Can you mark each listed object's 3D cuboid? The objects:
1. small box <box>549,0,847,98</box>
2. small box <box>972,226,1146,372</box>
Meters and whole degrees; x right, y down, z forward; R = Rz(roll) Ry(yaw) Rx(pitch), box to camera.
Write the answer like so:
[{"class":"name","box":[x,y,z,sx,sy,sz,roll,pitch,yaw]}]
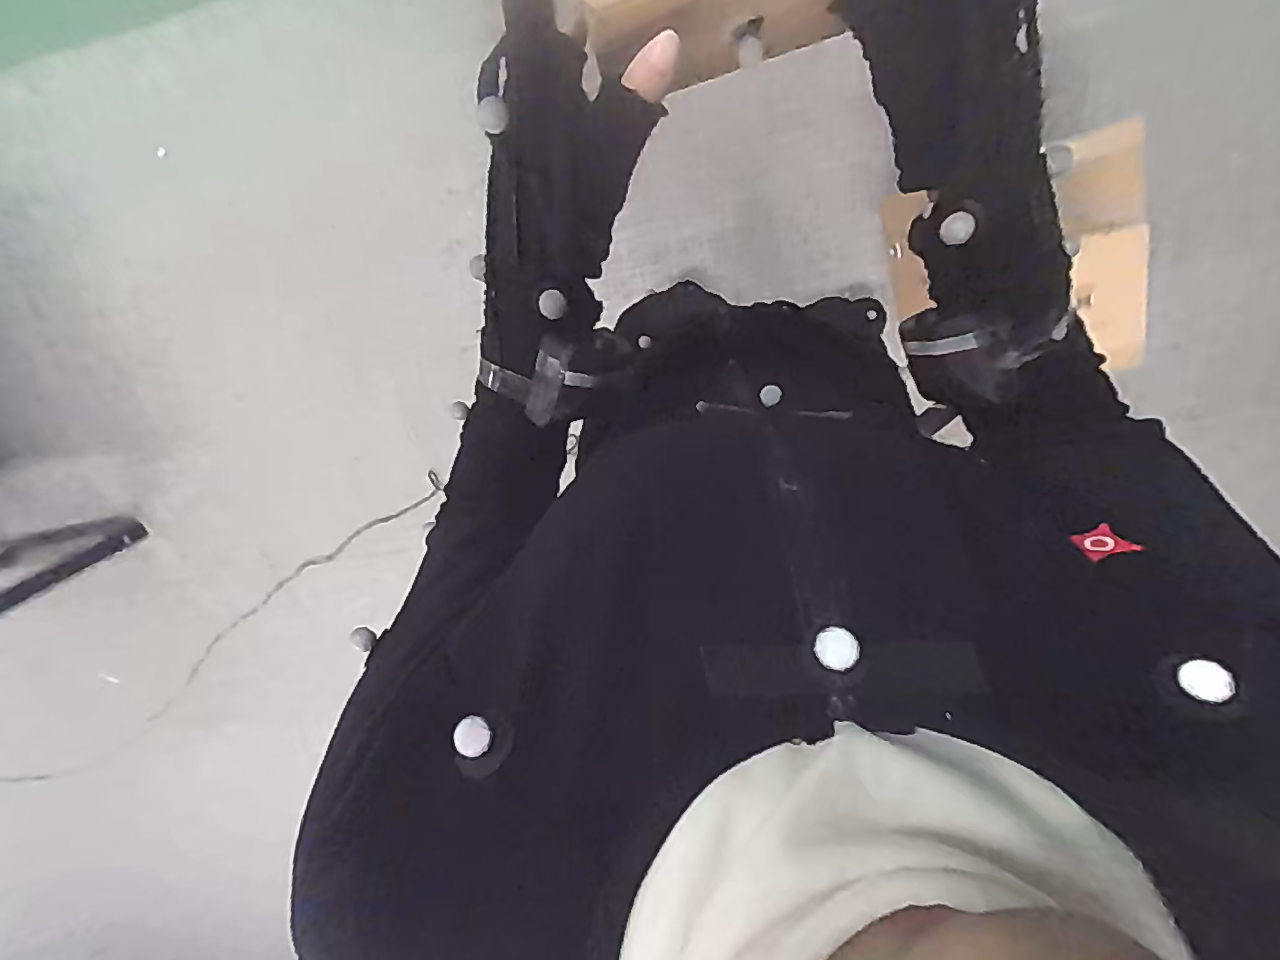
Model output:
[{"class":"small box","box":[0.022,-0.312,0.256,0.168,0.176,0.179,-16,112,7]},{"class":"small box","box":[0.661,-0.293,0.873,0.168,0.176,0.179,-13,112,13]}]
